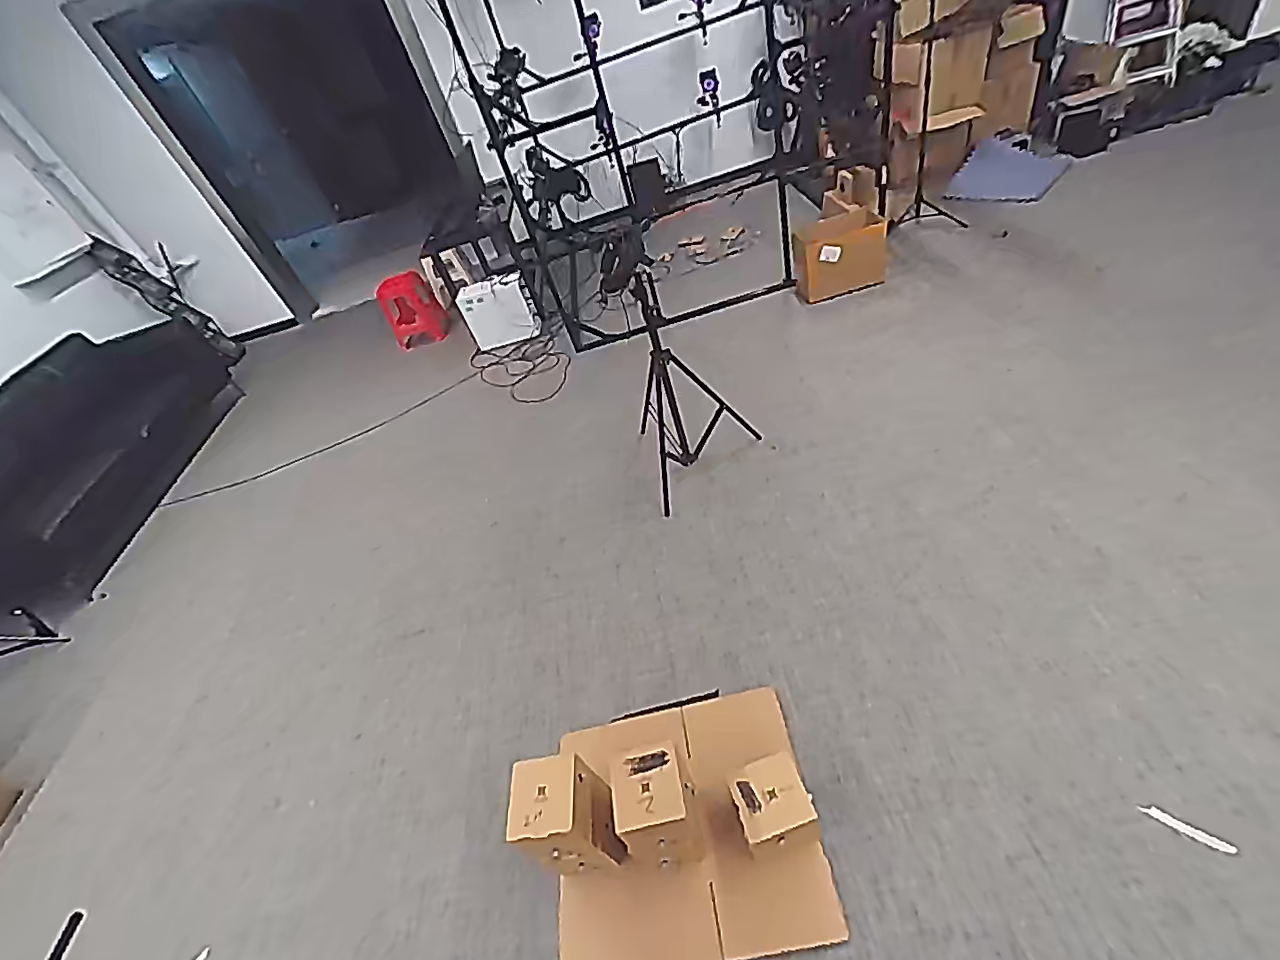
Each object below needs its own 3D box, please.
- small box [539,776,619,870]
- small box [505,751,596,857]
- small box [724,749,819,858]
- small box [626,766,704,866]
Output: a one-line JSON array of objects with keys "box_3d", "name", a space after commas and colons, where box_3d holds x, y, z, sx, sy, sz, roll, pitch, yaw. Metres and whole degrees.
[{"box_3d": [-0.158, 0.920, 1.442, 0.168, 0.176, 0.179, -14, 43, 8], "name": "small box"}, {"box_3d": [-0.213, 0.803, 1.338, 0.168, 0.176, 0.179, -14, 42, 9], "name": "small box"}, {"box_3d": [0.333, 0.815, 1.356, 0.179, 0.176, 0.168, -21, 42, -1], "name": "small box"}, {"box_3d": [0.064, 0.873, 1.404, 0.168, 0.176, 0.179, -13, 42, 8], "name": "small box"}]
